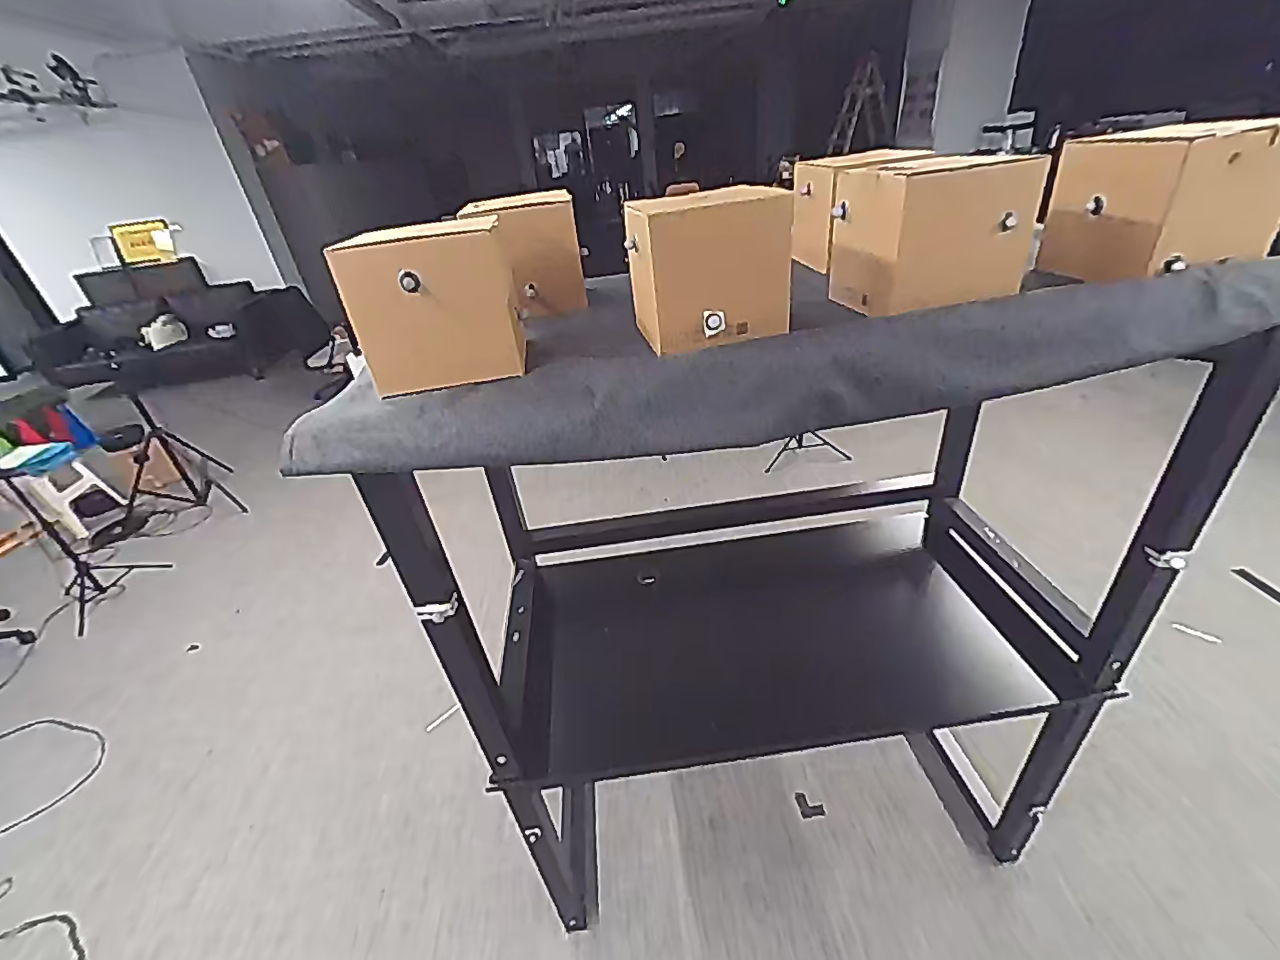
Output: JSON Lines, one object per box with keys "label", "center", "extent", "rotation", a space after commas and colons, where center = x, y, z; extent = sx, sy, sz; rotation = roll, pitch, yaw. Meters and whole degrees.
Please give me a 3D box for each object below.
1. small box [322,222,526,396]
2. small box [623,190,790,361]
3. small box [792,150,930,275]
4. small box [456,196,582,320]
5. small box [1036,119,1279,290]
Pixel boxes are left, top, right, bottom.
{"label": "small box", "center": [-0.250, -0.215, 0.676], "extent": [0.179, 0.176, 0.168], "rotation": [-10, 31, -5]}
{"label": "small box", "center": [0.078, -0.263, 0.688], "extent": [0.168, 0.176, 0.179], "rotation": [-11, 31, -5]}
{"label": "small box", "center": [0.375, -0.467, 0.950], "extent": [0.168, 0.176, 0.179], "rotation": [-9, 32, -2]}
{"label": "small box", "center": [-0.195, -0.376, 0.924], "extent": [0.179, 0.176, 0.168], "rotation": [-9, 32, -4]}
{"label": "small box", "center": [0.668, -0.353, 0.701], "extent": [0.168, 0.176, 0.179], "rotation": [-10, 31, -4]}
